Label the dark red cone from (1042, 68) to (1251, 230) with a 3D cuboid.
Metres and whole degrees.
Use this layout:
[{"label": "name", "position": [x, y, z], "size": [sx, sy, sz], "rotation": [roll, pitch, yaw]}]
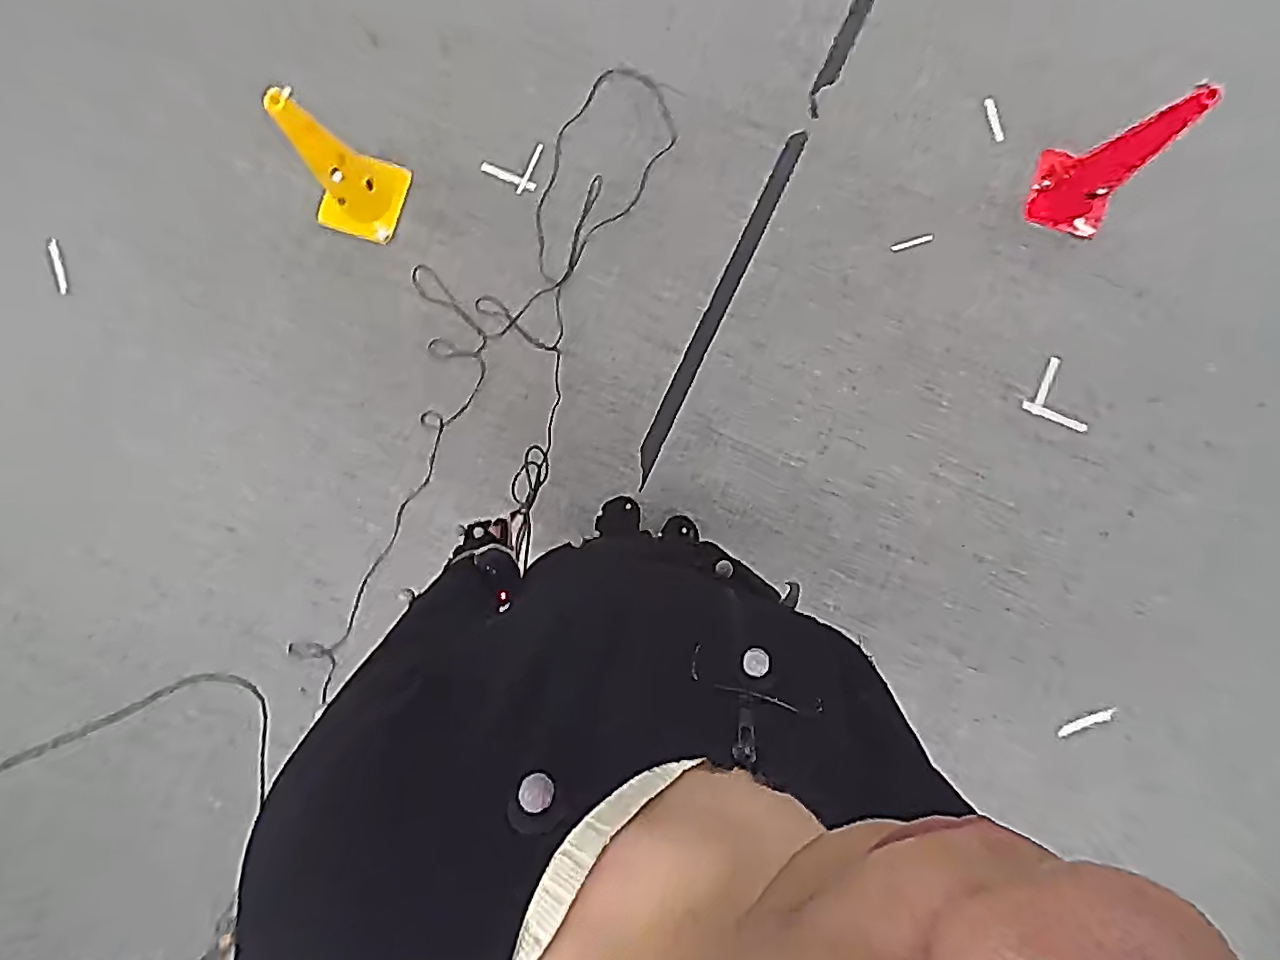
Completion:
[{"label": "dark red cone", "position": [1.124, -0.745, 1.196], "size": [0.201, 0.394, 0.202], "rotation": [17, 89, 2]}]
